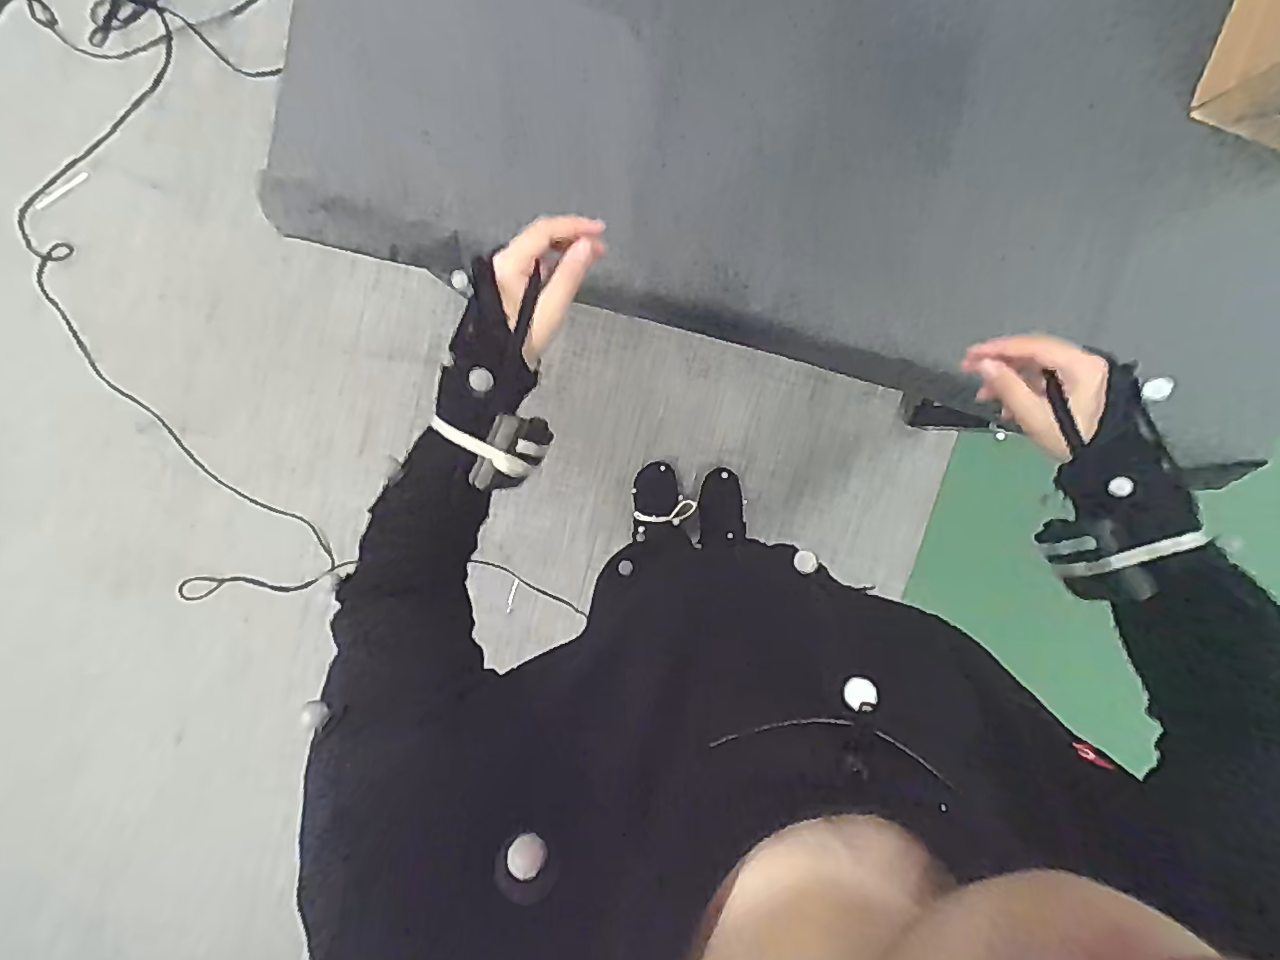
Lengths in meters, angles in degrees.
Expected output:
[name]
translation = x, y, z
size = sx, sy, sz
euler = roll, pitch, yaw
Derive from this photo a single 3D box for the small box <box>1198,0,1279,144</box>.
[small box]
translation = 0.715, -0.465, 0.519
size = 0.168, 0.176, 0.179
euler = 17, 98, -4
